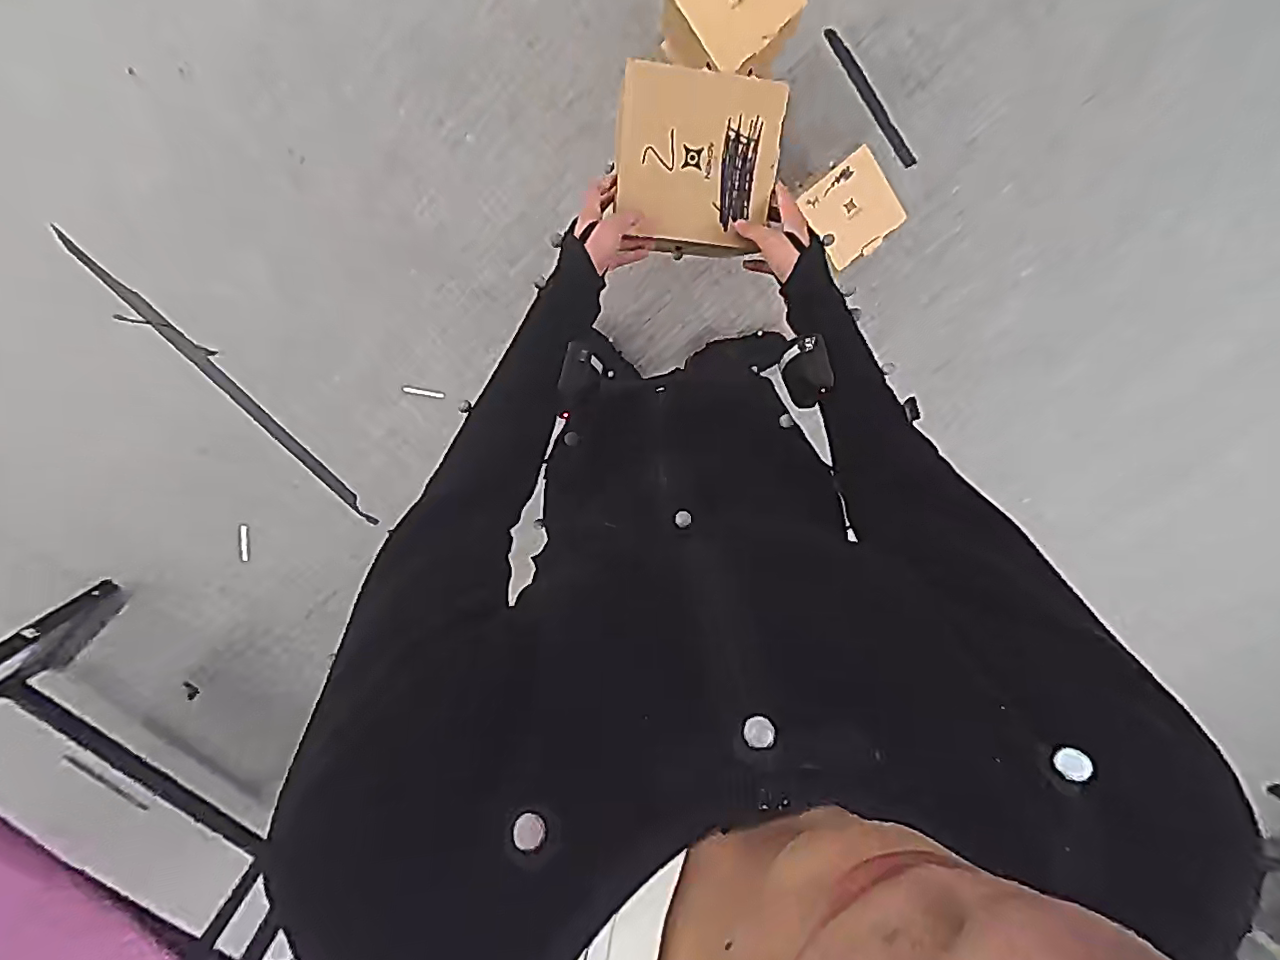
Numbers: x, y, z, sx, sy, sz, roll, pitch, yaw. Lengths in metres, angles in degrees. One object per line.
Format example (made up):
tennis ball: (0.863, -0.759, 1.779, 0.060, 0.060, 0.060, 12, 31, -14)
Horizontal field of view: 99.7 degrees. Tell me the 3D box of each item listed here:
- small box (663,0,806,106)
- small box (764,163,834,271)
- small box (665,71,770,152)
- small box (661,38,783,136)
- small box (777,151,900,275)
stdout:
small box: (0.151, -0.796, 0.932, 0.168, 0.176, 0.179, -37, 106, 14)
small box: (0.429, -0.639, 1.339, 0.168, 0.176, 0.179, -36, 107, 15)
small box: (0.167, -0.899, 1.242, 0.168, 0.176, 0.179, 43, 107, -14)
small box: (0.154, -0.841, 1.089, 0.179, 0.176, 0.168, -41, 104, 16)
small box: (0.426, -0.578, 1.186, 0.168, 0.176, 0.179, -35, 108, 14)
